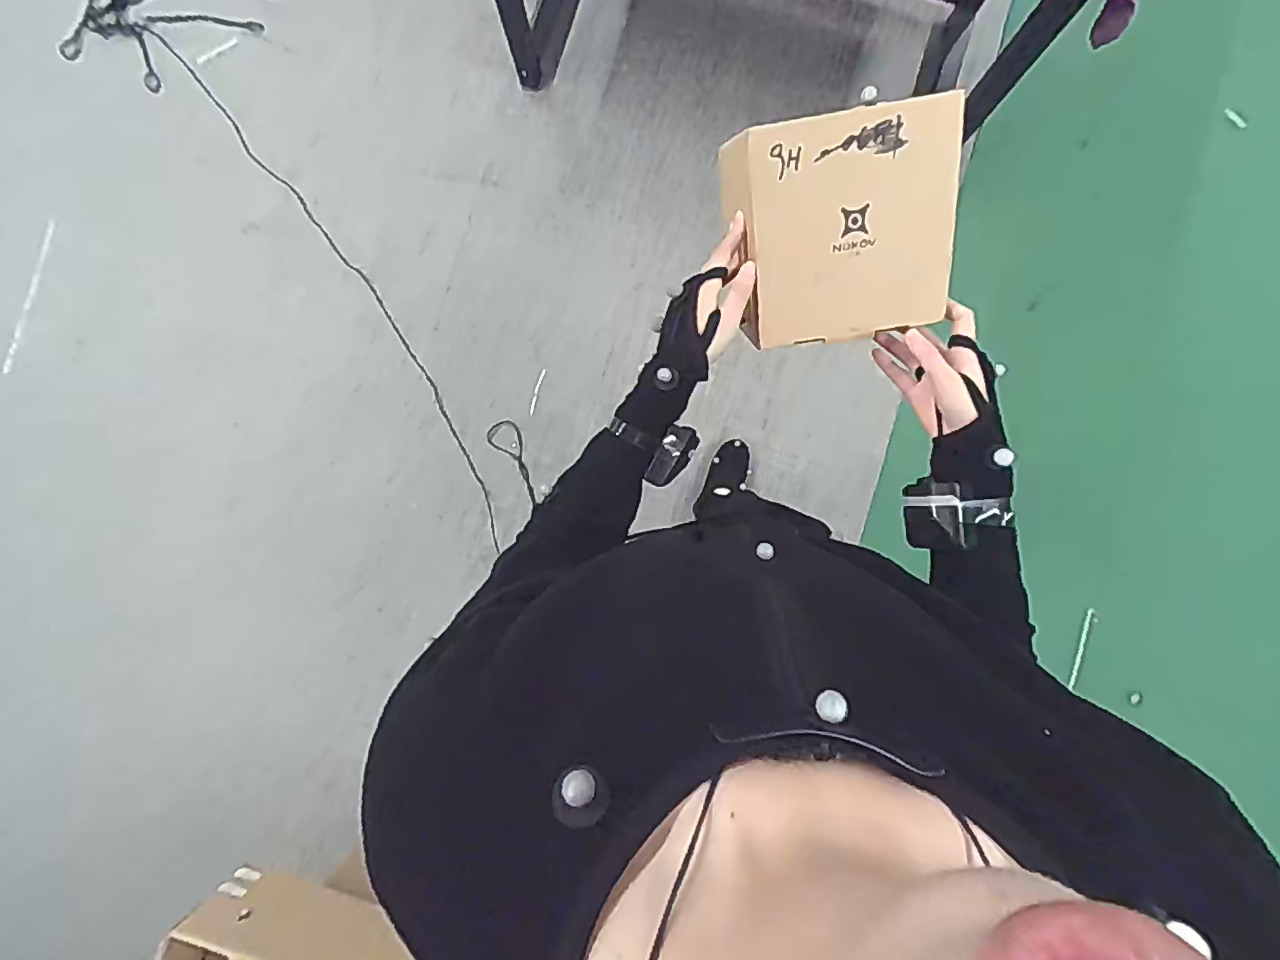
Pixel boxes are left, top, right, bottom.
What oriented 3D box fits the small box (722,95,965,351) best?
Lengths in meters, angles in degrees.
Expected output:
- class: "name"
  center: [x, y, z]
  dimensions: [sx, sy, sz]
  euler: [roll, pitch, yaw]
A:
- class: "small box"
  center: [0.175, -0.240, 0.517]
  dimensions: [0.168, 0.176, 0.179]
  euler: [-8, 117, 4]
